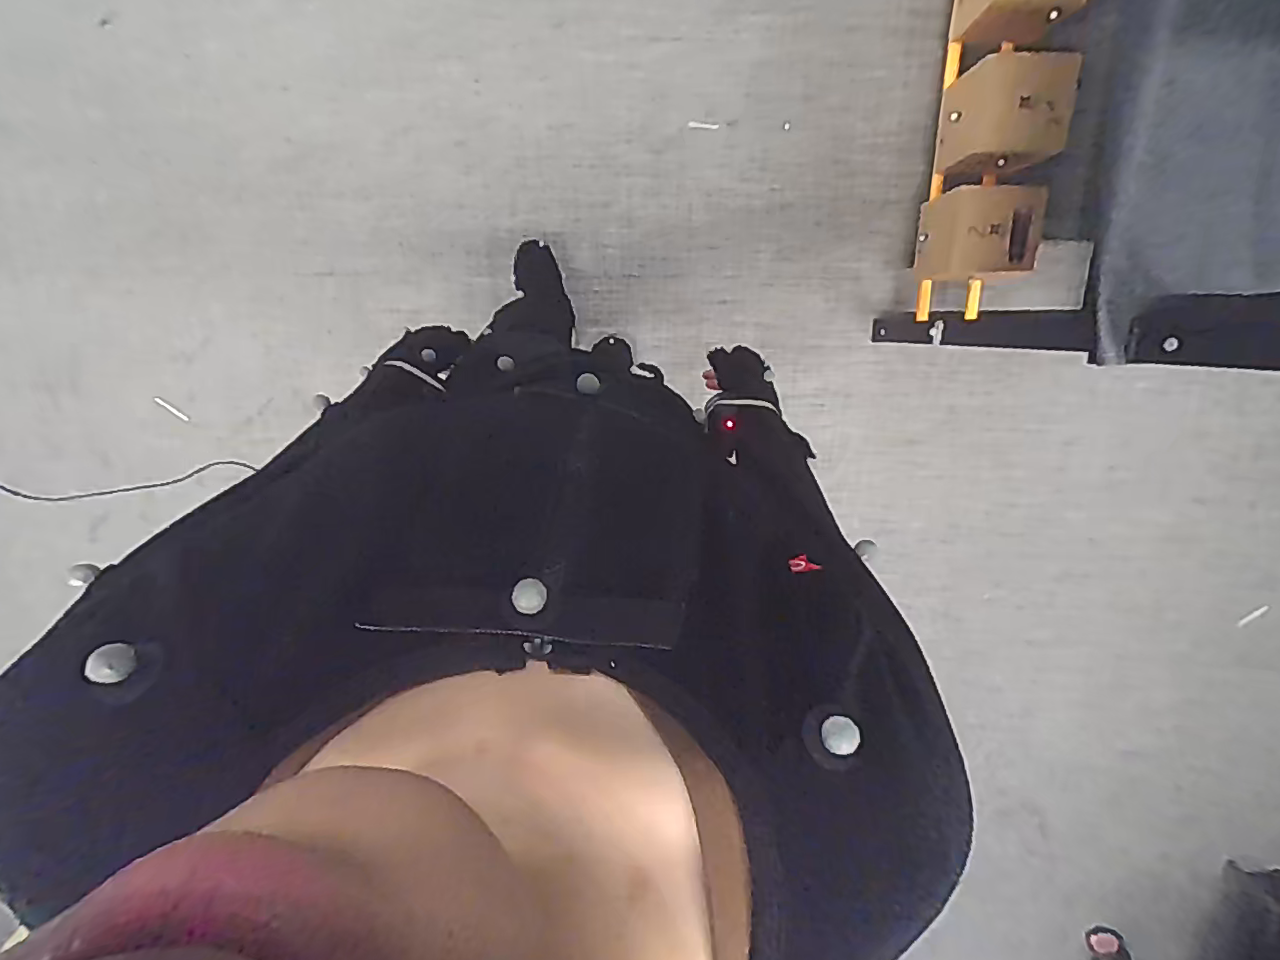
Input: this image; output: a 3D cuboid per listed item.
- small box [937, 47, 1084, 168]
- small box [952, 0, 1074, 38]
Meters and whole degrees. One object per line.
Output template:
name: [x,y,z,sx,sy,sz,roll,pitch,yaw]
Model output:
small box: [0.743,-0.751,1.108,0.179,0.176,0.168,-1,107,0]
small box: [0.737,-0.988,1.040,0.179,0.176,0.168,1,107,0]
